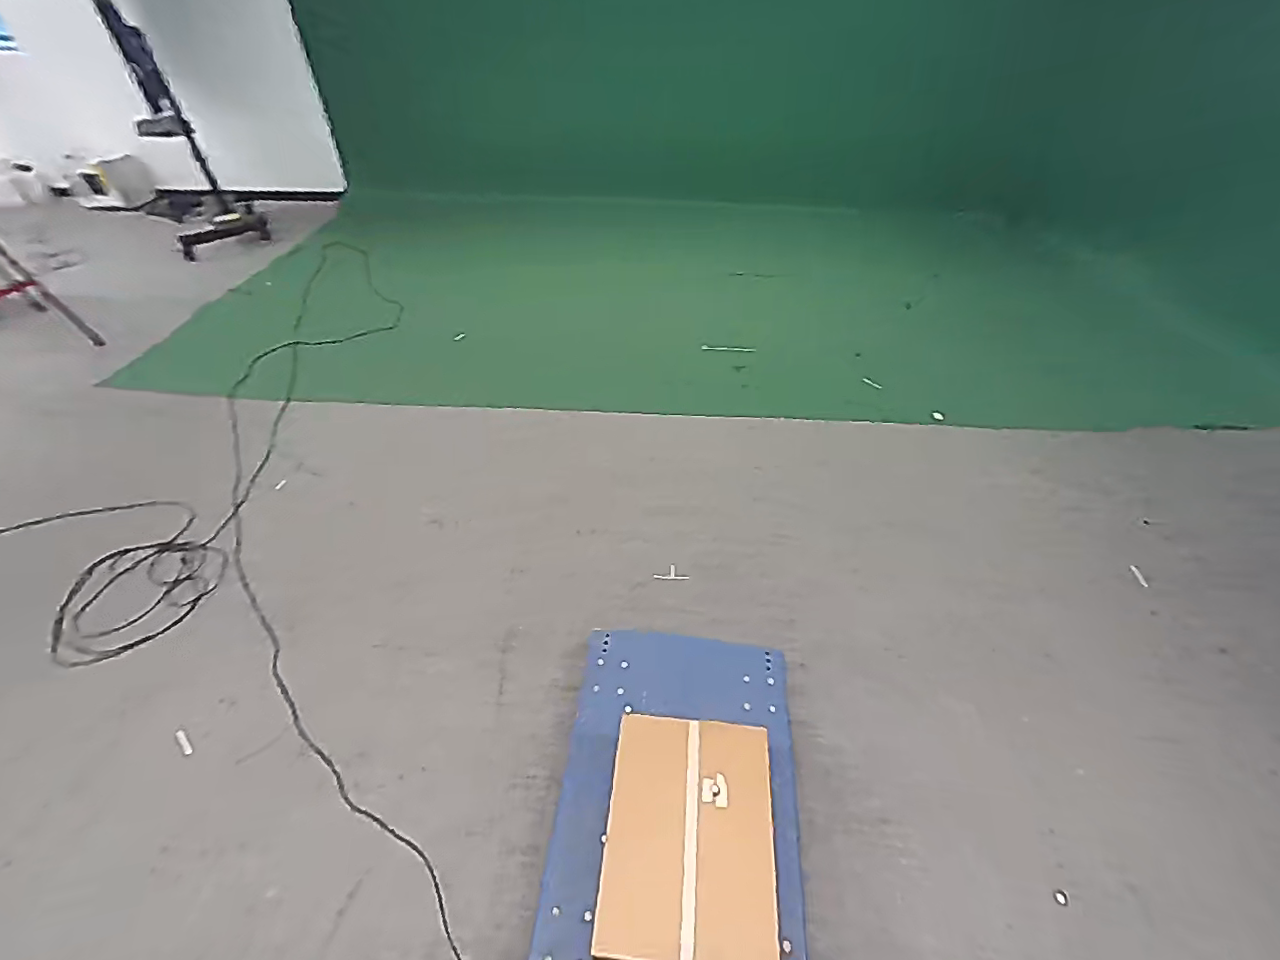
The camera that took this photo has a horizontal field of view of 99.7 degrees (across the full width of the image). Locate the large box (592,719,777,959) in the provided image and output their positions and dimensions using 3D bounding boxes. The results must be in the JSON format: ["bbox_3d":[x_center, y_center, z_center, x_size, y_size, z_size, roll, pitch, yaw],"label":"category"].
[{"bbox_3d":[0.089,0.776,1.129,0.320,0.320,0.408,5,43,4],"label":"large box"}]
